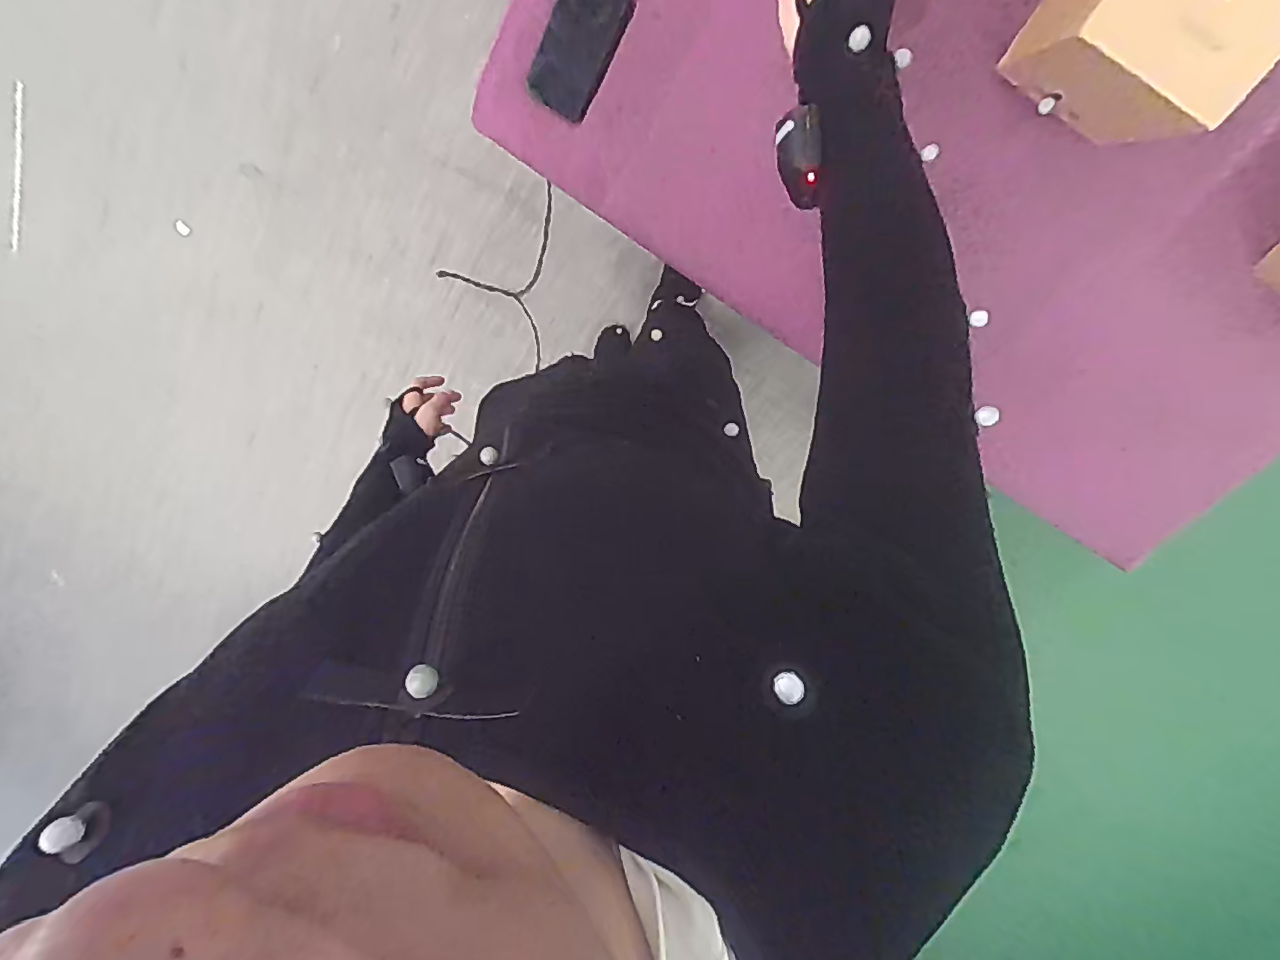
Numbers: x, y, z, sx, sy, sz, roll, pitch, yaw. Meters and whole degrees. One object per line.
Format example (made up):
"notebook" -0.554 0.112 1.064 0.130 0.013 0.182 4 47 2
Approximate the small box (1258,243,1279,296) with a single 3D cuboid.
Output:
"small box" 0.877 -0.255 0.590 0.168 0.176 0.179 30 116 -8

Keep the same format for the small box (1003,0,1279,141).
"small box" 0.508 -0.465 0.522 0.168 0.176 0.179 28 117 -8

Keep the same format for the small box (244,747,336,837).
"small box" -1.157 1.036 1.801 0.168 0.176 0.179 38 113 -13
